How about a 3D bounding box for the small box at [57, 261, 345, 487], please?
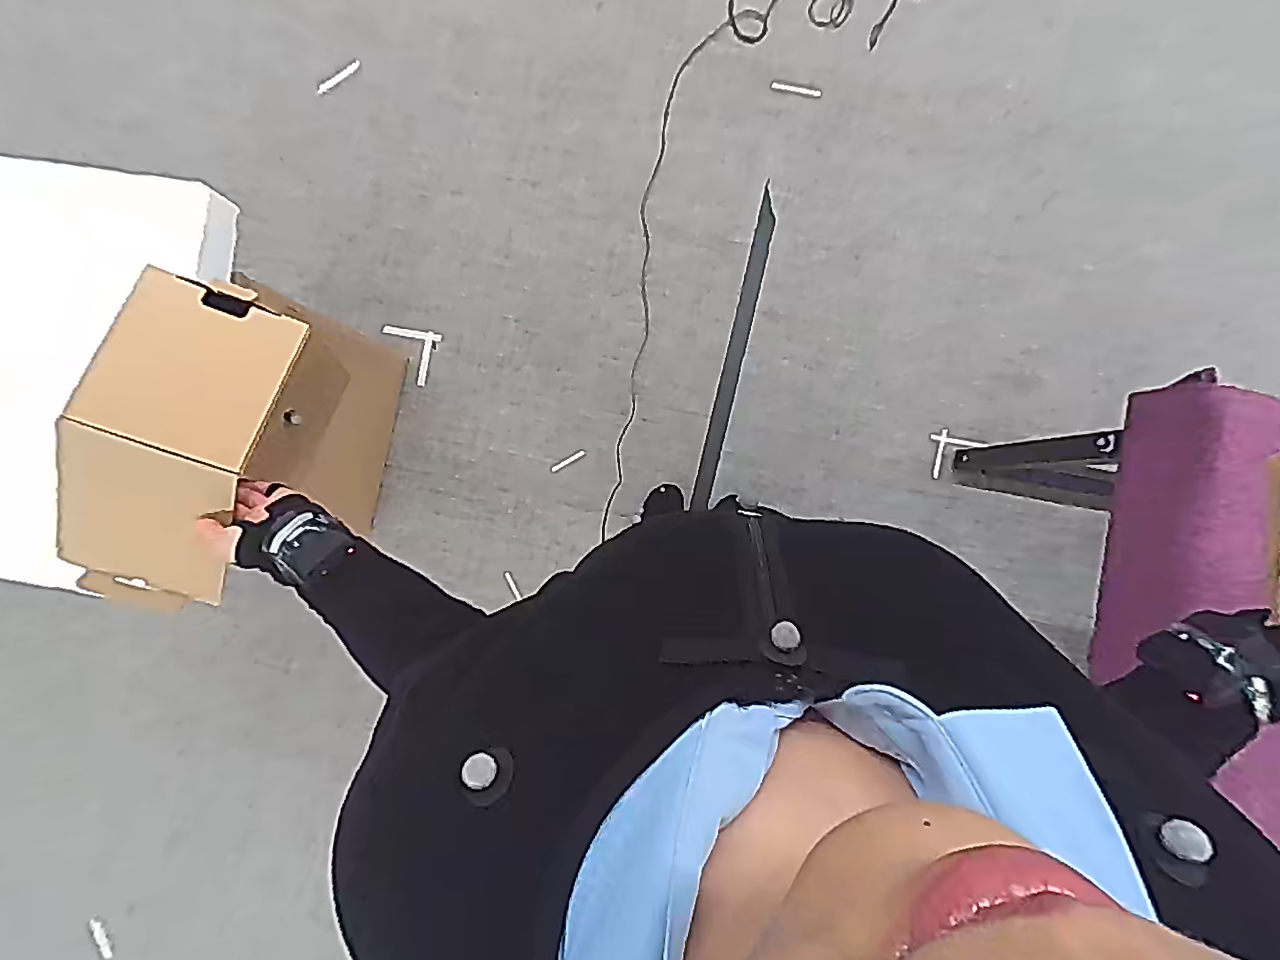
[{"bbox_3d":[-0.467,-0.102,0.614,0.168,0.176,0.179,21,78,-11],"label":"small box"}]
